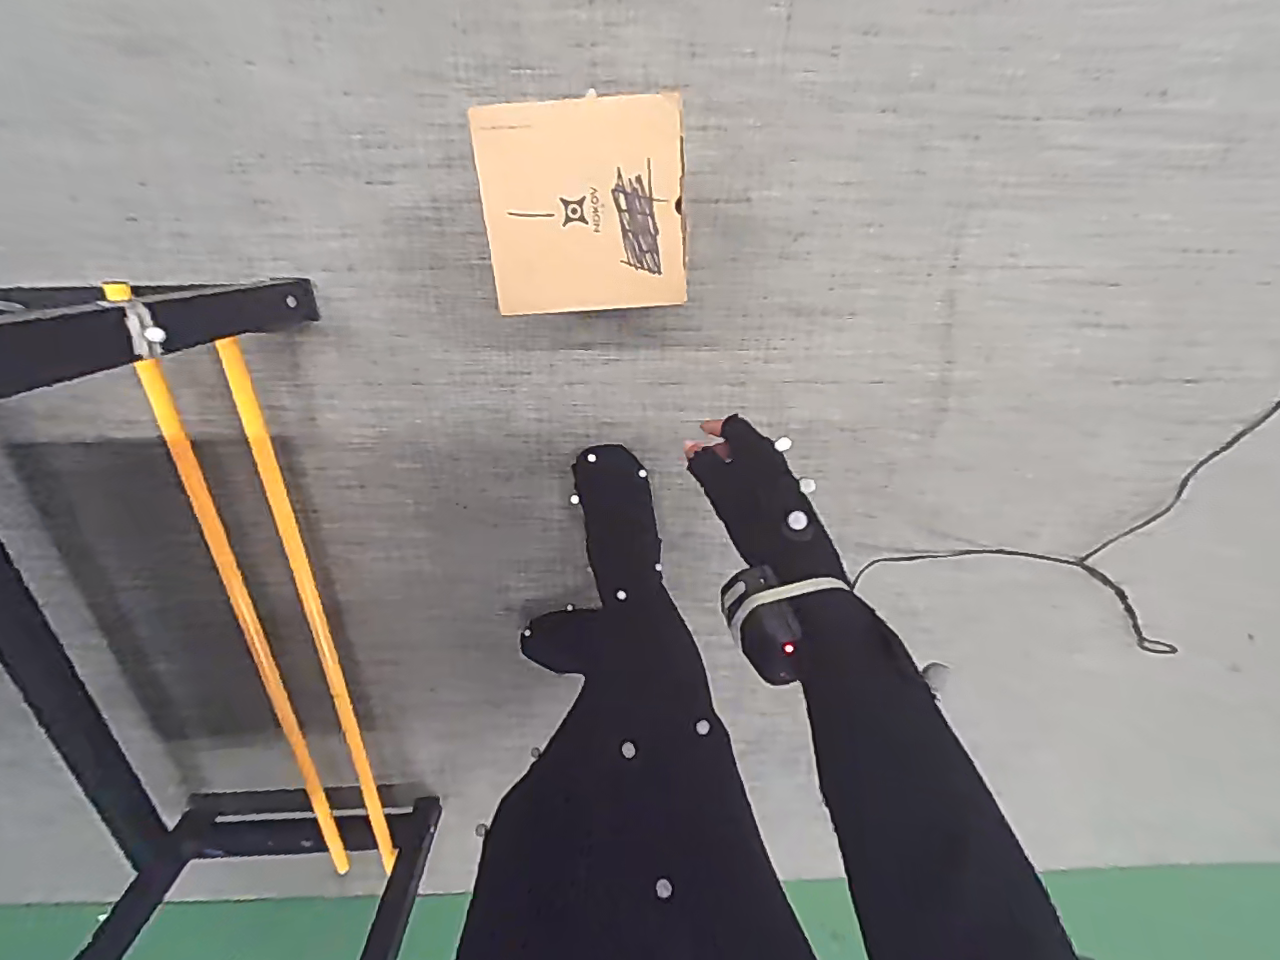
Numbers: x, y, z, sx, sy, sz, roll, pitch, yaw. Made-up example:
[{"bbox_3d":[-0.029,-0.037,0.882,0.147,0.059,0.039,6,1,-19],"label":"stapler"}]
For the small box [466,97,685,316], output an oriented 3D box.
[{"bbox_3d":[-0.051,-0.263,0.536,0.179,0.176,0.168,-3,115,1],"label":"small box"}]
